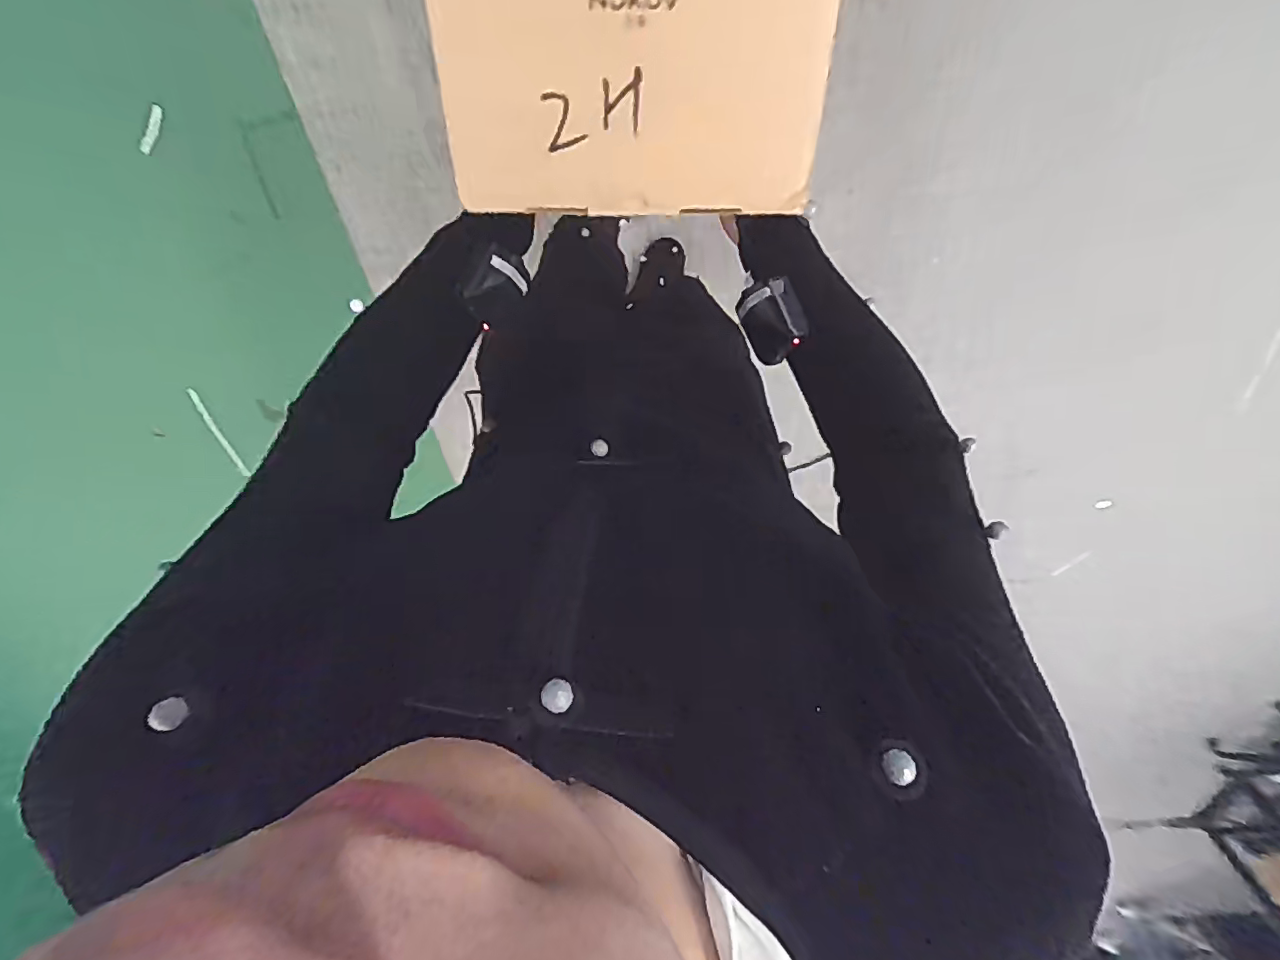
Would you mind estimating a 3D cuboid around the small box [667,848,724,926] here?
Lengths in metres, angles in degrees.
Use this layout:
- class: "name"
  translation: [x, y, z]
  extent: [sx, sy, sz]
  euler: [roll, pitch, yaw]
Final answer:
- class: "small box"
  translation: [0.184, 1.355, 1.807]
  extent: [0.168, 0.176, 0.179]
  euler: [-8, 126, 5]

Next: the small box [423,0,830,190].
- class: "small box"
  translation: [-0.004, -0.252, 0.272]
  extent: [0.168, 0.176, 0.179]
  euler: [1, 124, 2]
